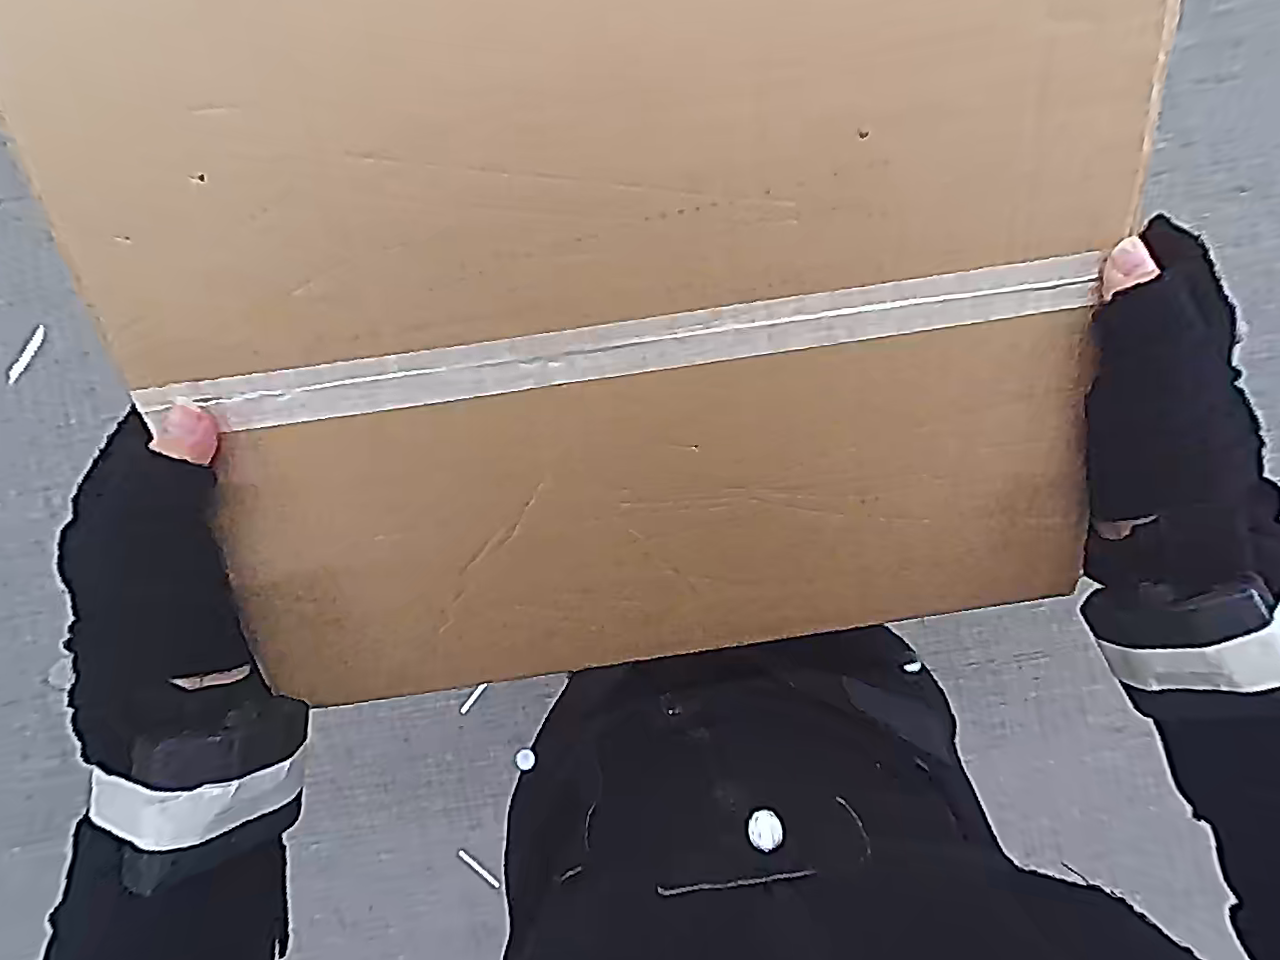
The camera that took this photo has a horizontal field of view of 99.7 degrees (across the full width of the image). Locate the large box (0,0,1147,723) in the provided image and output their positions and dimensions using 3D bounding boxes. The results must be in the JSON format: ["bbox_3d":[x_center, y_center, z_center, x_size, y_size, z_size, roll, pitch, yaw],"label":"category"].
[{"bbox_3d":[-0.007,-0.096,0.372,0.408,0.320,0.320,-9,111,-1],"label":"large box"}]
